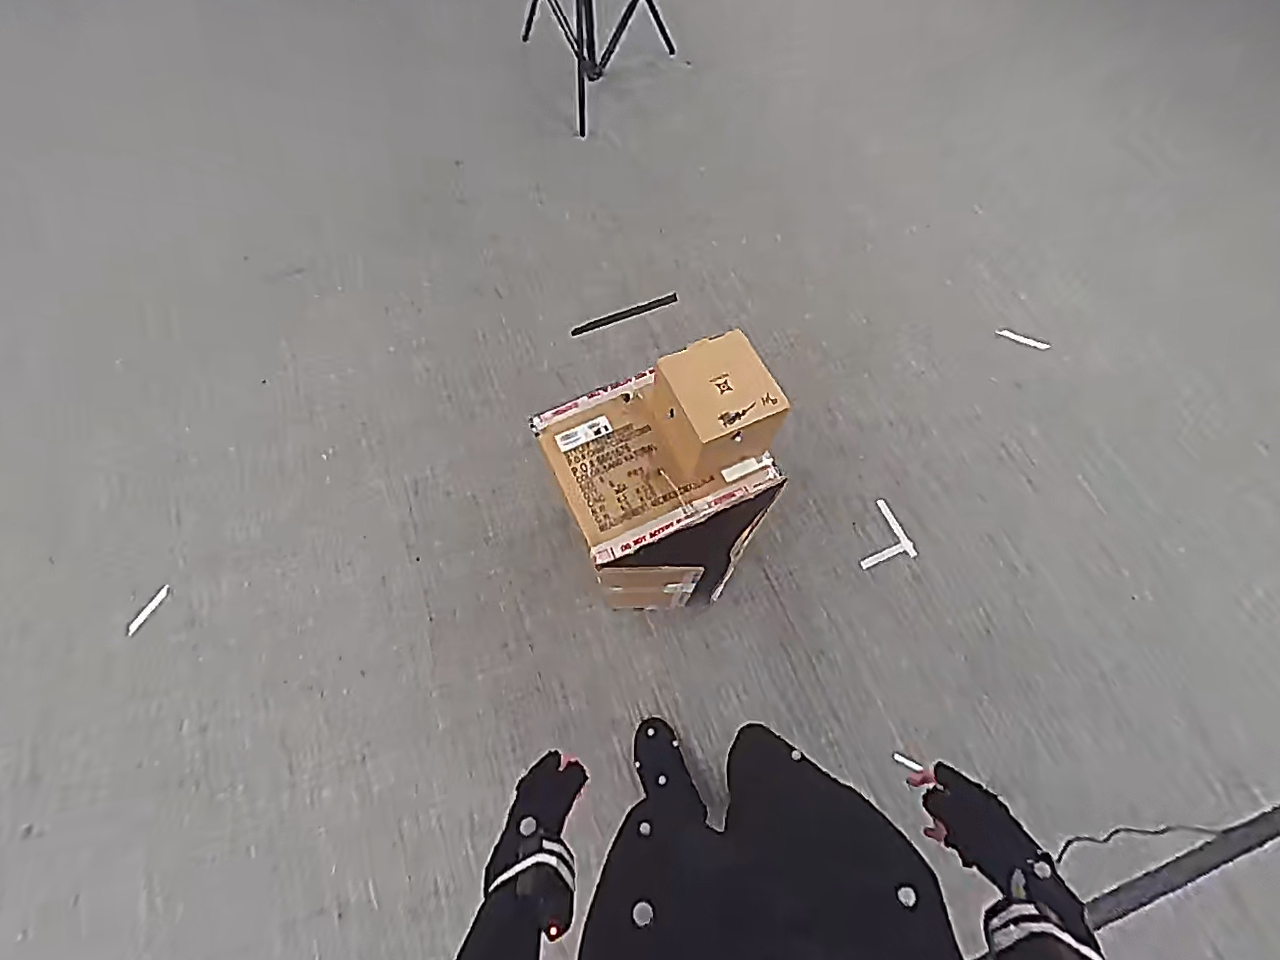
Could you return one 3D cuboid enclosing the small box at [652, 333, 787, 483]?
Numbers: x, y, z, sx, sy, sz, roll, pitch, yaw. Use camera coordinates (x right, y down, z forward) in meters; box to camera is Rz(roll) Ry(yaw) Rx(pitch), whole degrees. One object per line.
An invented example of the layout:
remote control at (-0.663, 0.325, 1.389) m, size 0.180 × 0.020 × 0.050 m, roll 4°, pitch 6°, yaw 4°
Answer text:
small box at (0.129, -0.123, 0.966) m, size 0.168 × 0.176 × 0.179 m, roll -23°, pitch 69°, yaw -11°
